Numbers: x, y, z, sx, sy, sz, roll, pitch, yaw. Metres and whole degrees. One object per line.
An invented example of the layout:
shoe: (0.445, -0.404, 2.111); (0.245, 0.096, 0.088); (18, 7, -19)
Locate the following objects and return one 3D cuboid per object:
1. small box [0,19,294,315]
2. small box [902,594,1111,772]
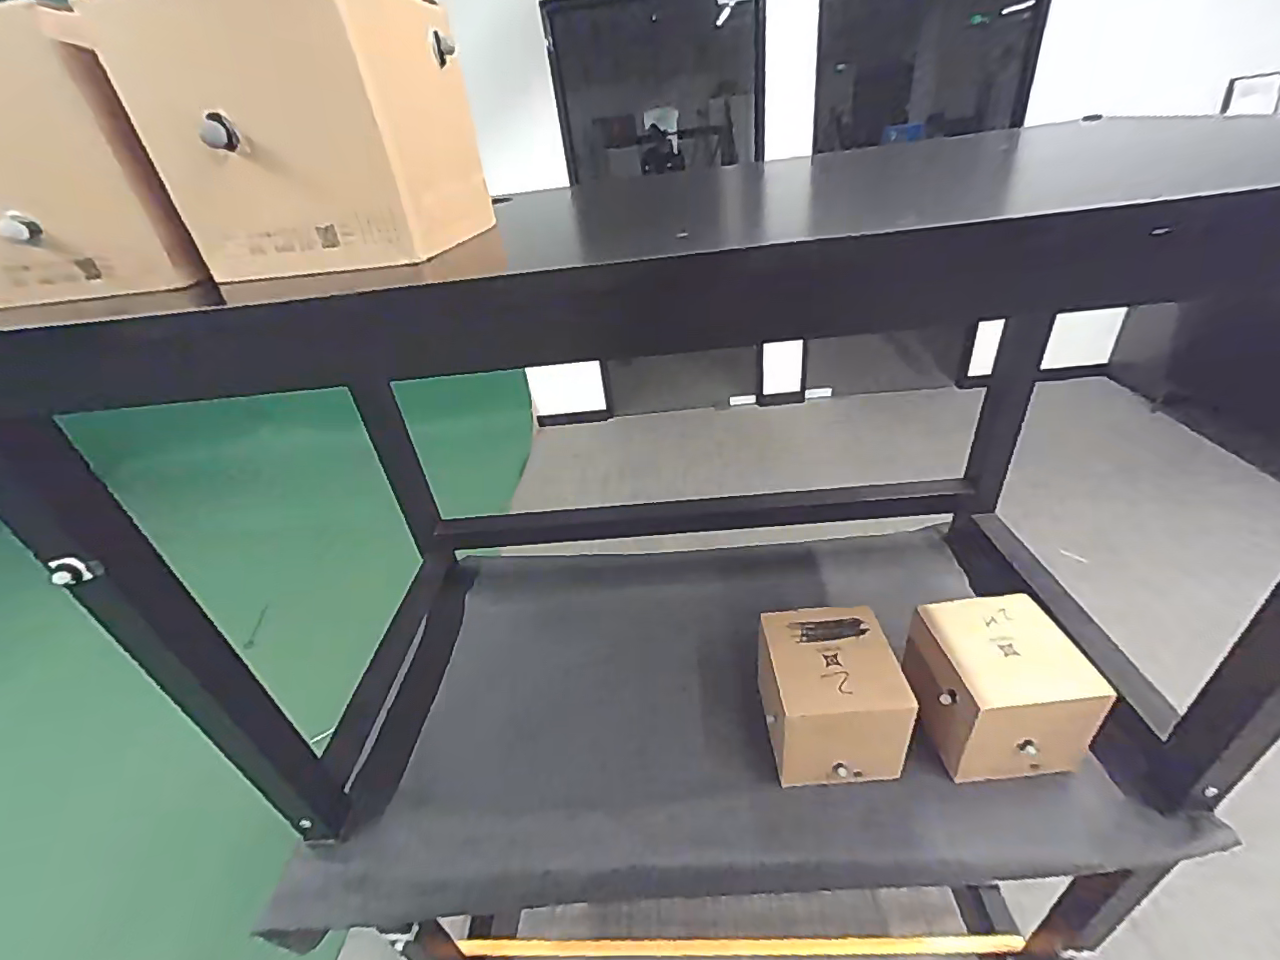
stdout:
small box: (-0.423, -0.244, 0.438); (0.168, 0.176, 0.179); (-5, 34, 3)
small box: (0.499, 0.291, 0.769); (0.168, 0.176, 0.179); (-6, 32, 1)
